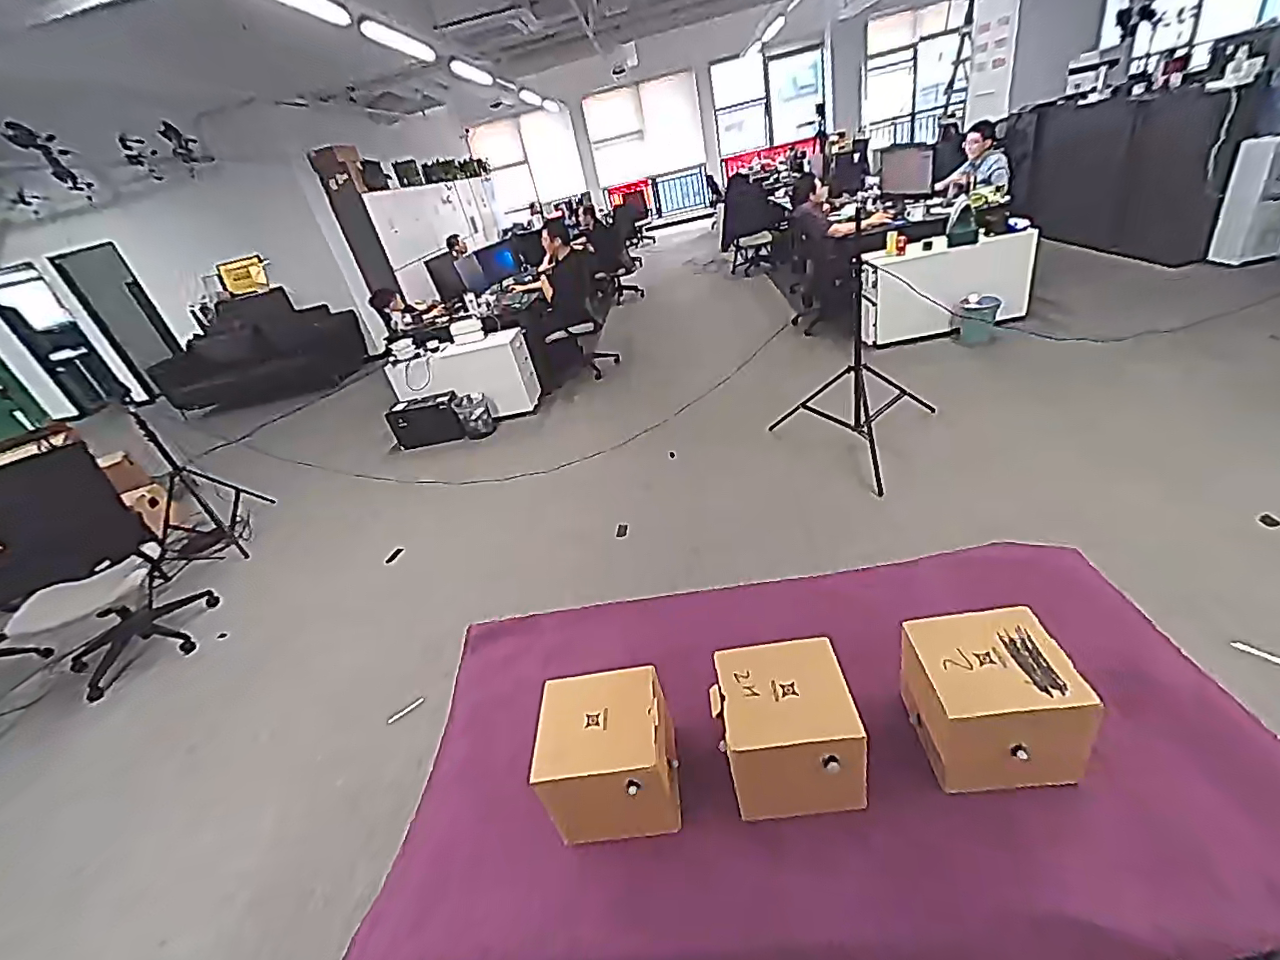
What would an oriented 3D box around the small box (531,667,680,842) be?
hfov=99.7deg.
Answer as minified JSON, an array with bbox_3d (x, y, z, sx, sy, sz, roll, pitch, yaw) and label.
[{"bbox_3d":[-0.045,0.413,0.813,0.179,0.176,0.168,-11,30,5],"label":"small box"}]

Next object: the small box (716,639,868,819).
[{"bbox_3d":[0.216,0.361,0.787,0.179,0.176,0.168,-11,29,6],"label":"small box"}]
